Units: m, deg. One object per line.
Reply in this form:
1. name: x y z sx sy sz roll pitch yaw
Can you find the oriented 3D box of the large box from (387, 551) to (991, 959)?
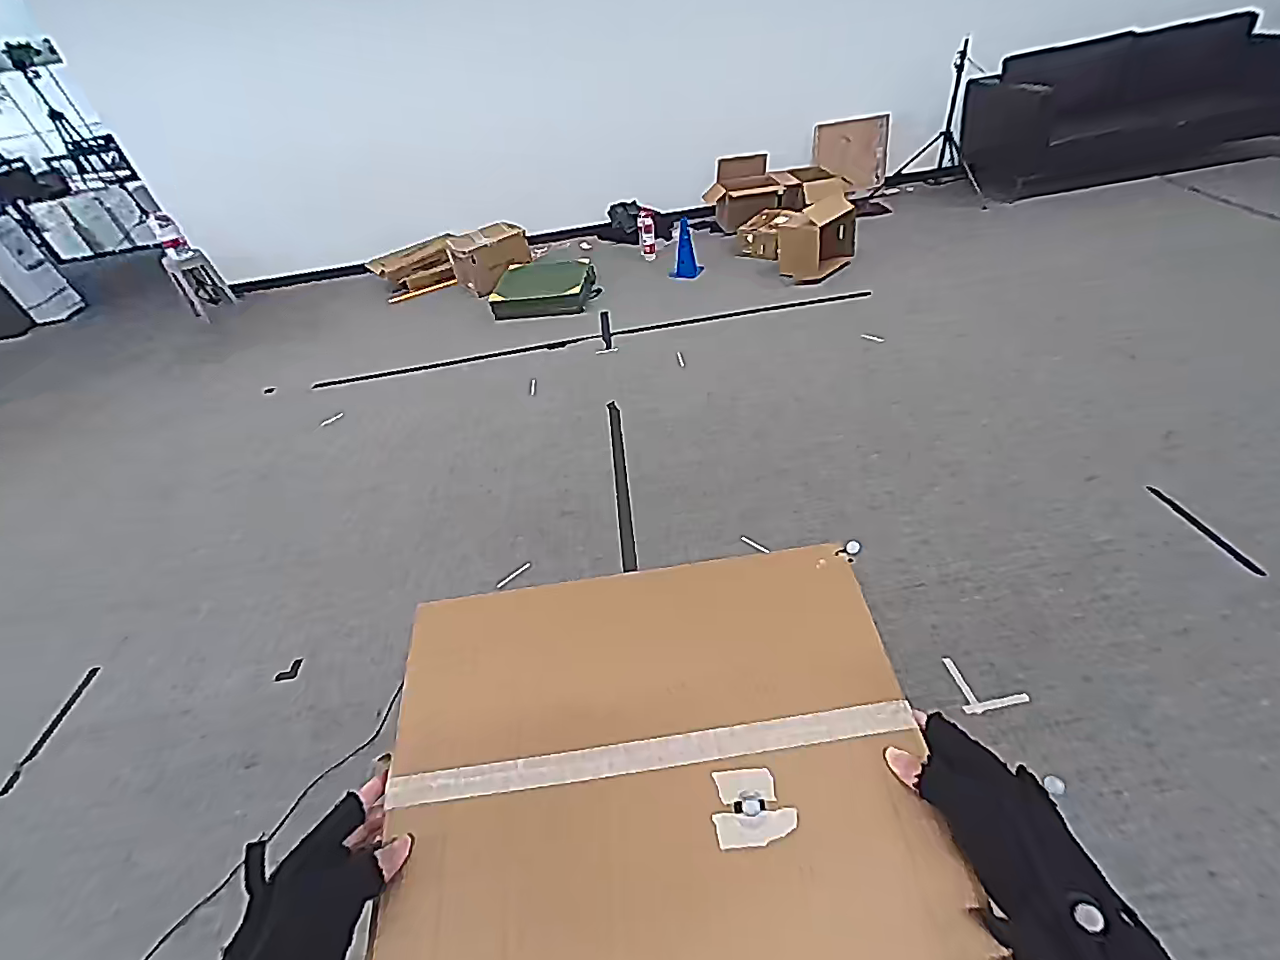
1. large box: 0.023 0.309 0.547 0.408 0.320 0.320 -8 53 0
